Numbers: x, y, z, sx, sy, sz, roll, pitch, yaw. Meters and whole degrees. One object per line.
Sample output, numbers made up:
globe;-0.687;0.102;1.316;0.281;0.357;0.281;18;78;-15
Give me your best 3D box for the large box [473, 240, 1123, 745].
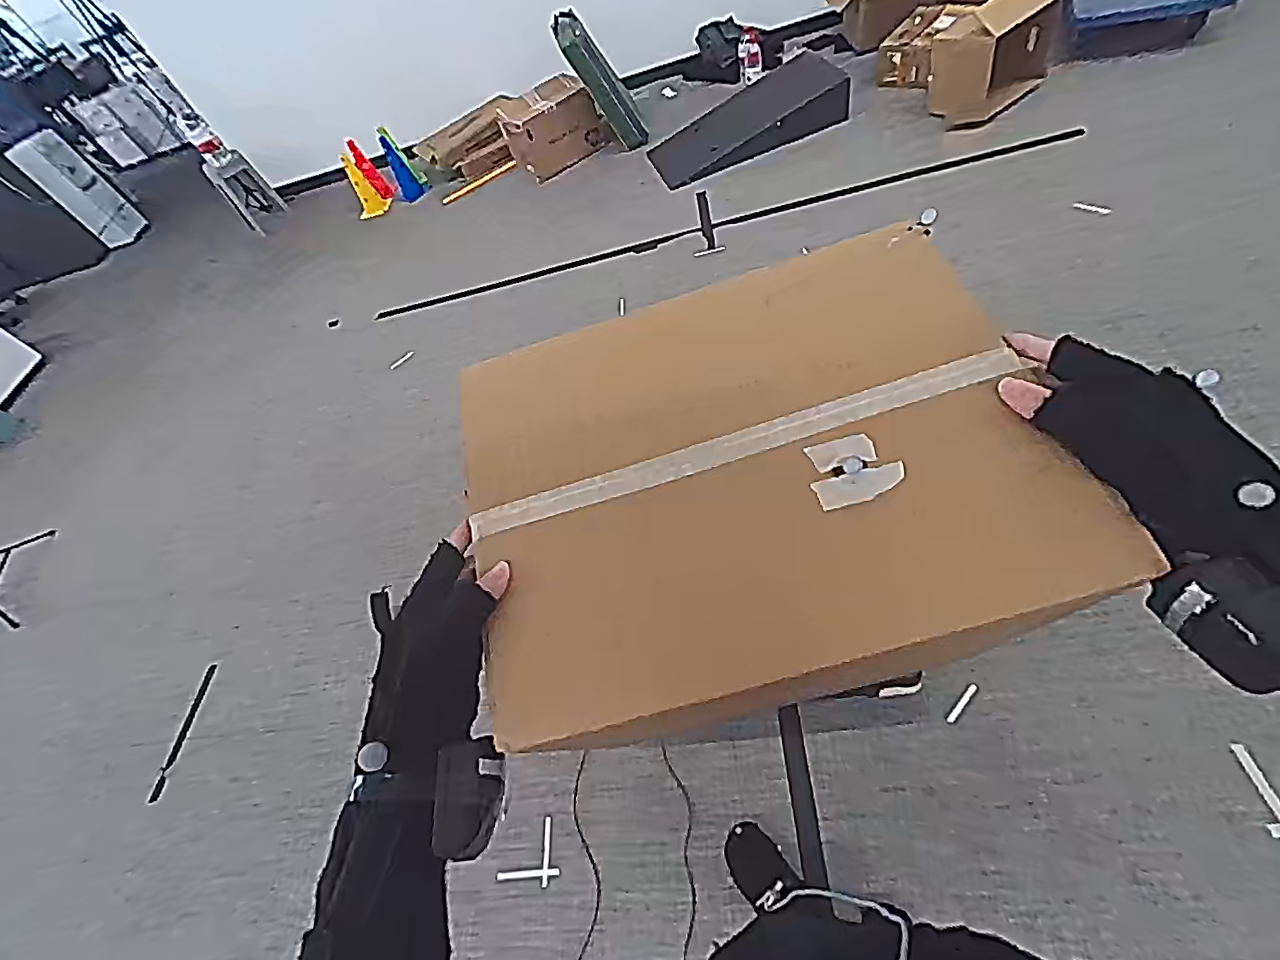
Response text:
large box;0.099;0.046;0.538;0.408;0.320;0.320;-17;63;4
